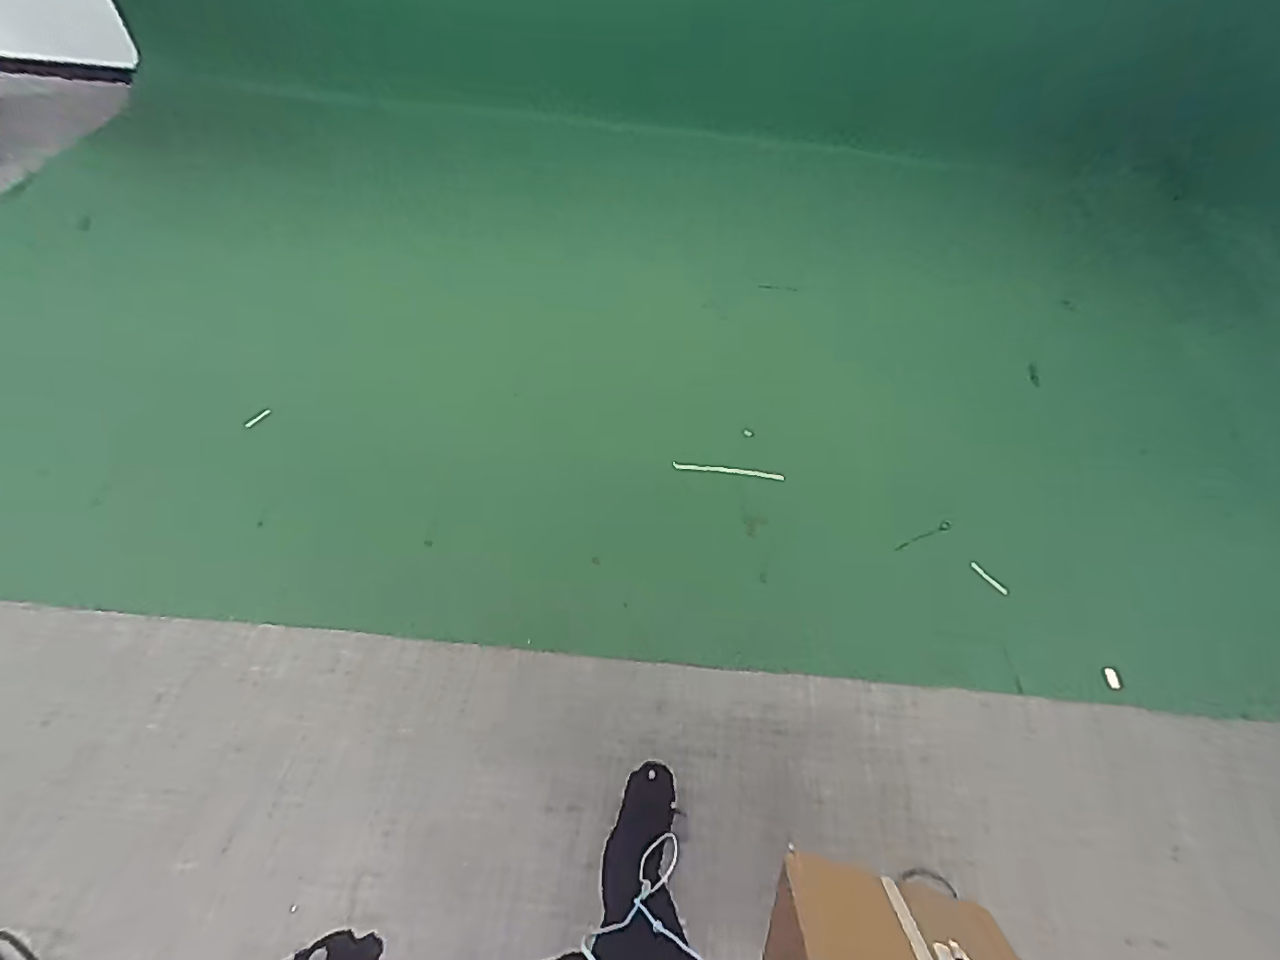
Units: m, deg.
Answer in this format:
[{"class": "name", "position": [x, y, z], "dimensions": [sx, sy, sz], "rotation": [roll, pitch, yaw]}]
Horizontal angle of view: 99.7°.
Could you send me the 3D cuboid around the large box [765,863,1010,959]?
[{"class": "large box", "position": [0.329, 0.784, 0.651], "dimensions": [0.320, 0.408, 0.320], "rotation": [13, 90, 6]}]
